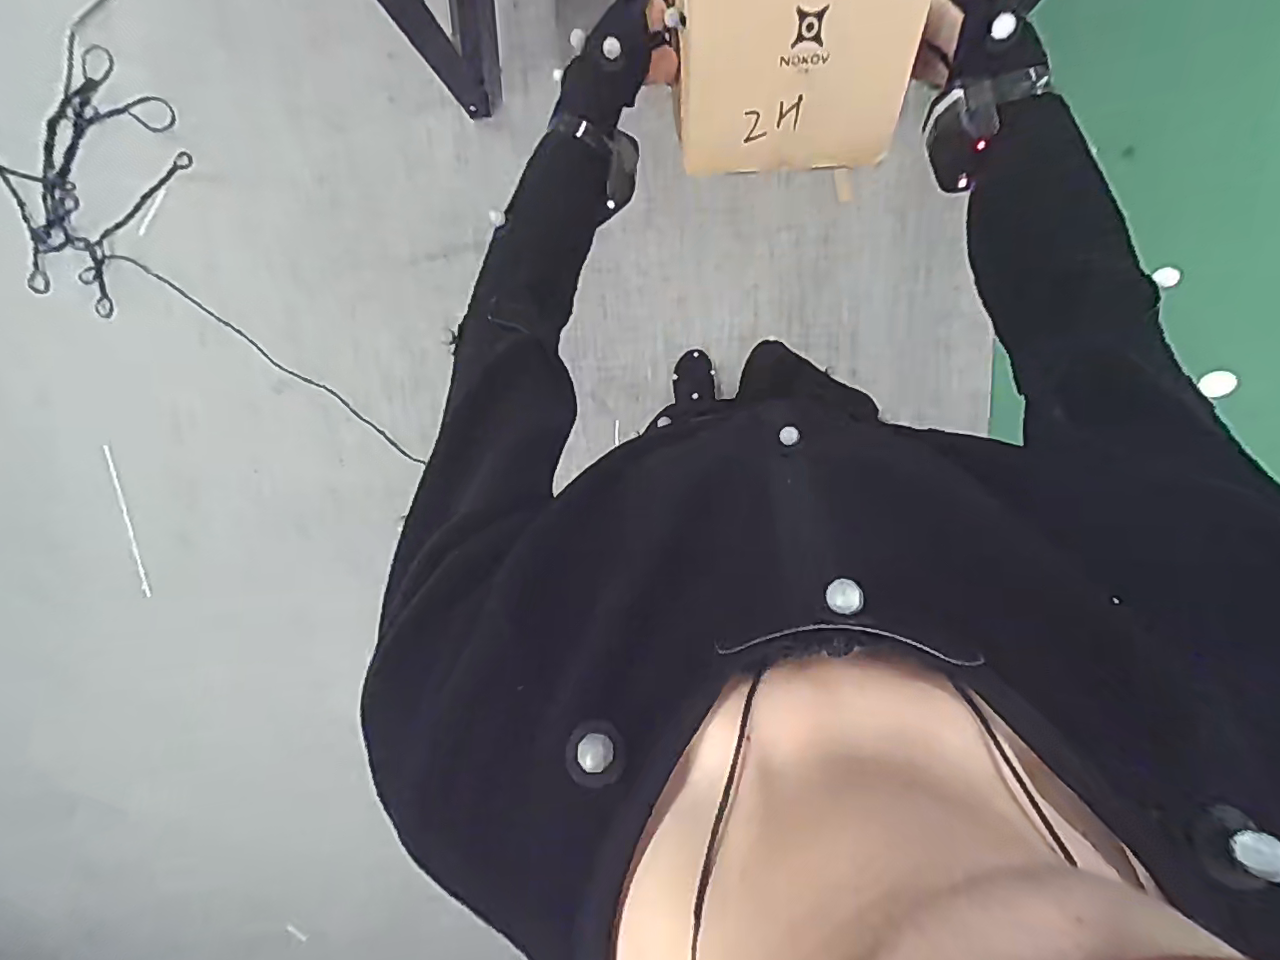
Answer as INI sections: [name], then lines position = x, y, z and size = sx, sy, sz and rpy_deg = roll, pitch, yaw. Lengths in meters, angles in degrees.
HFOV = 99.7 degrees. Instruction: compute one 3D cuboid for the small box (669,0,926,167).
[small box]
position = 0.110, -0.377, 0.428
size = 0.168, 0.176, 0.179
rpy_deg = -3, 141, 0
